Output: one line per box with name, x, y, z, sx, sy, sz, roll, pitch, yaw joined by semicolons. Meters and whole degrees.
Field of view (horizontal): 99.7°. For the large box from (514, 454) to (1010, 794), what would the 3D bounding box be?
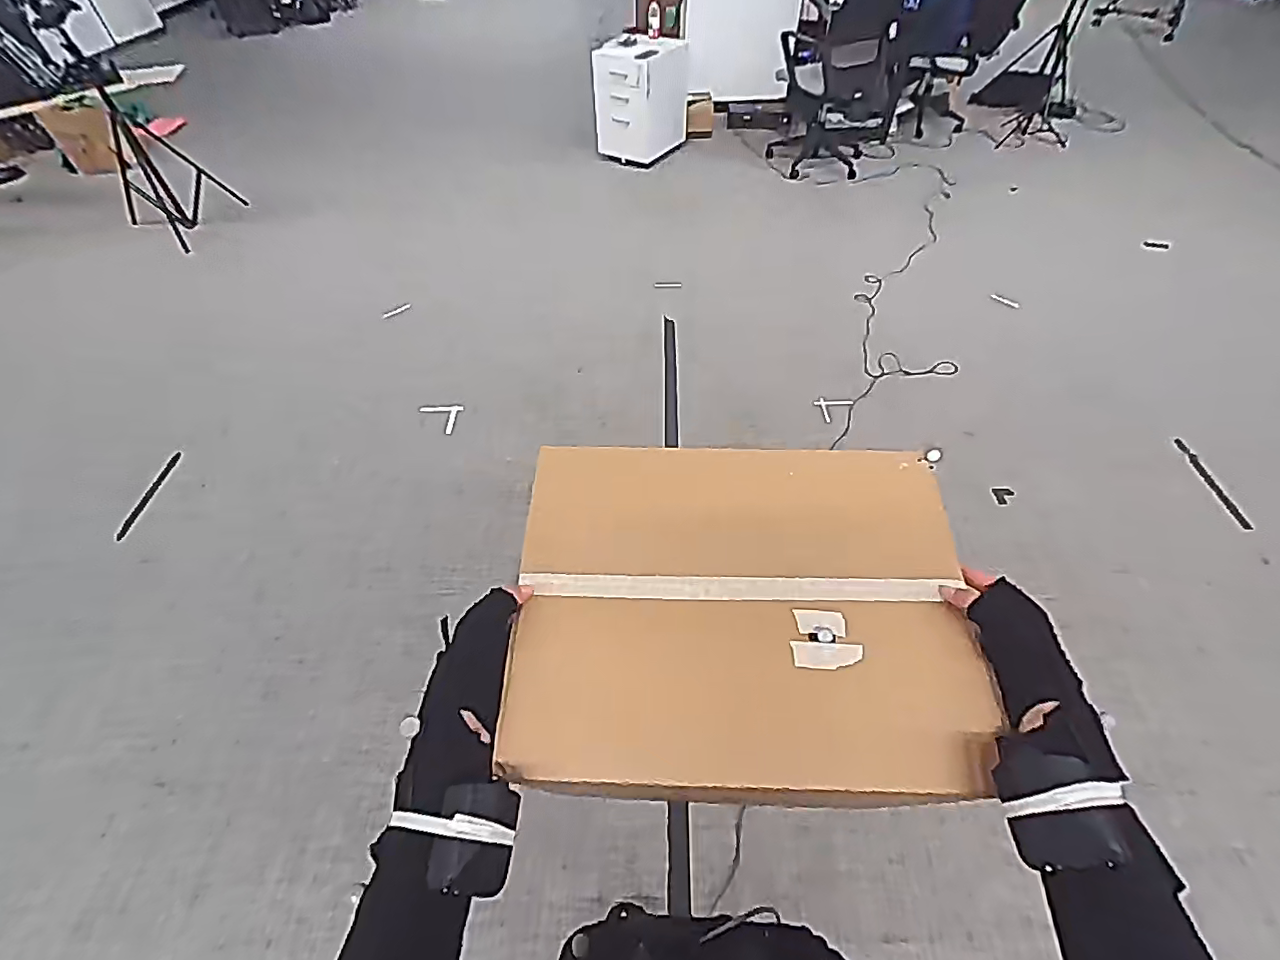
large box;0.097;0.181;0.631;0.408;0.320;0.320;1;59;1
